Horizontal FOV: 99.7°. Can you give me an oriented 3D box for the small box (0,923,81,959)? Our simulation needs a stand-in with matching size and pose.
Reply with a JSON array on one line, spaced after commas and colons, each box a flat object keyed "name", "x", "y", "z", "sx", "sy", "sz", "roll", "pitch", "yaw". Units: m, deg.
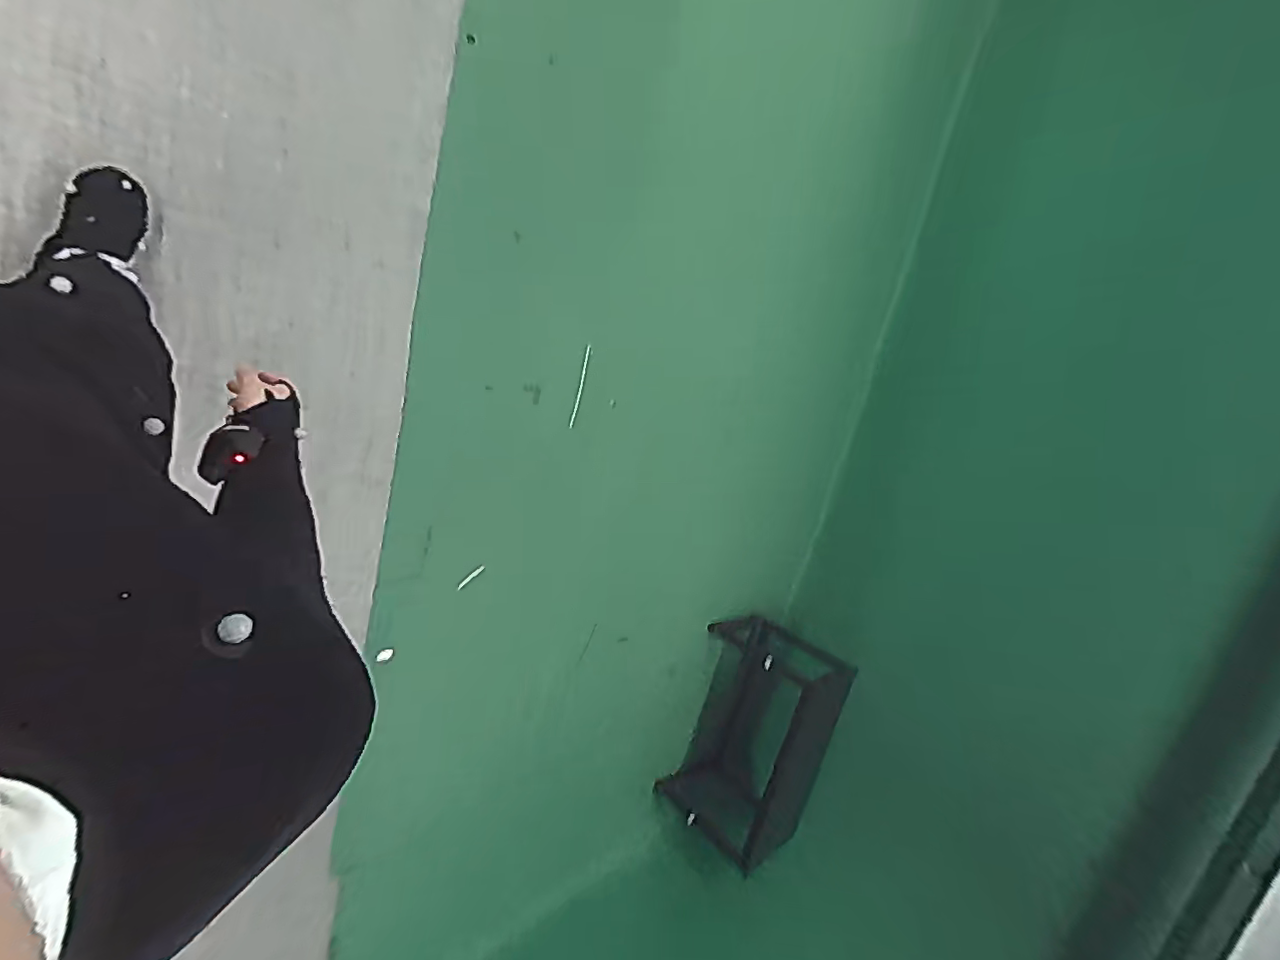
[{"name": "small box", "x": -0.984, "y": 0.852, "z": 0.830, "sx": 0.168, "sy": 0.176, "sz": 0.179, "roll": 5, "pitch": 104, "yaw": -48}]
